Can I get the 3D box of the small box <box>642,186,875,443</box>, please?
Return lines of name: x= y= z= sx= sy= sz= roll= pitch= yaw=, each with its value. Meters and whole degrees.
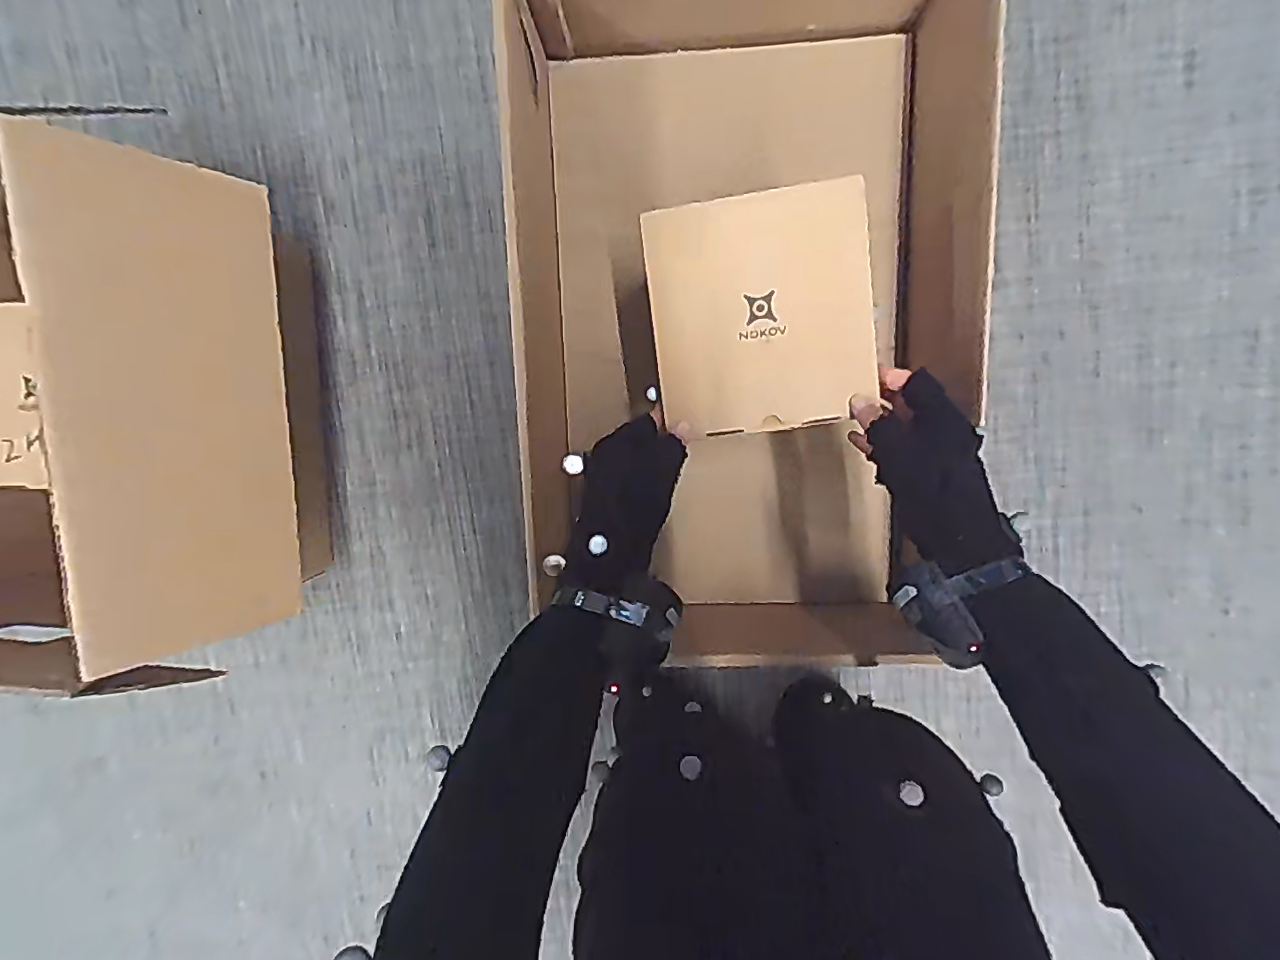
small box: x=0.097 y=-0.133 z=0.493 sx=0.168 sy=0.176 sz=0.179 roll=-7 pitch=98 yaw=6
